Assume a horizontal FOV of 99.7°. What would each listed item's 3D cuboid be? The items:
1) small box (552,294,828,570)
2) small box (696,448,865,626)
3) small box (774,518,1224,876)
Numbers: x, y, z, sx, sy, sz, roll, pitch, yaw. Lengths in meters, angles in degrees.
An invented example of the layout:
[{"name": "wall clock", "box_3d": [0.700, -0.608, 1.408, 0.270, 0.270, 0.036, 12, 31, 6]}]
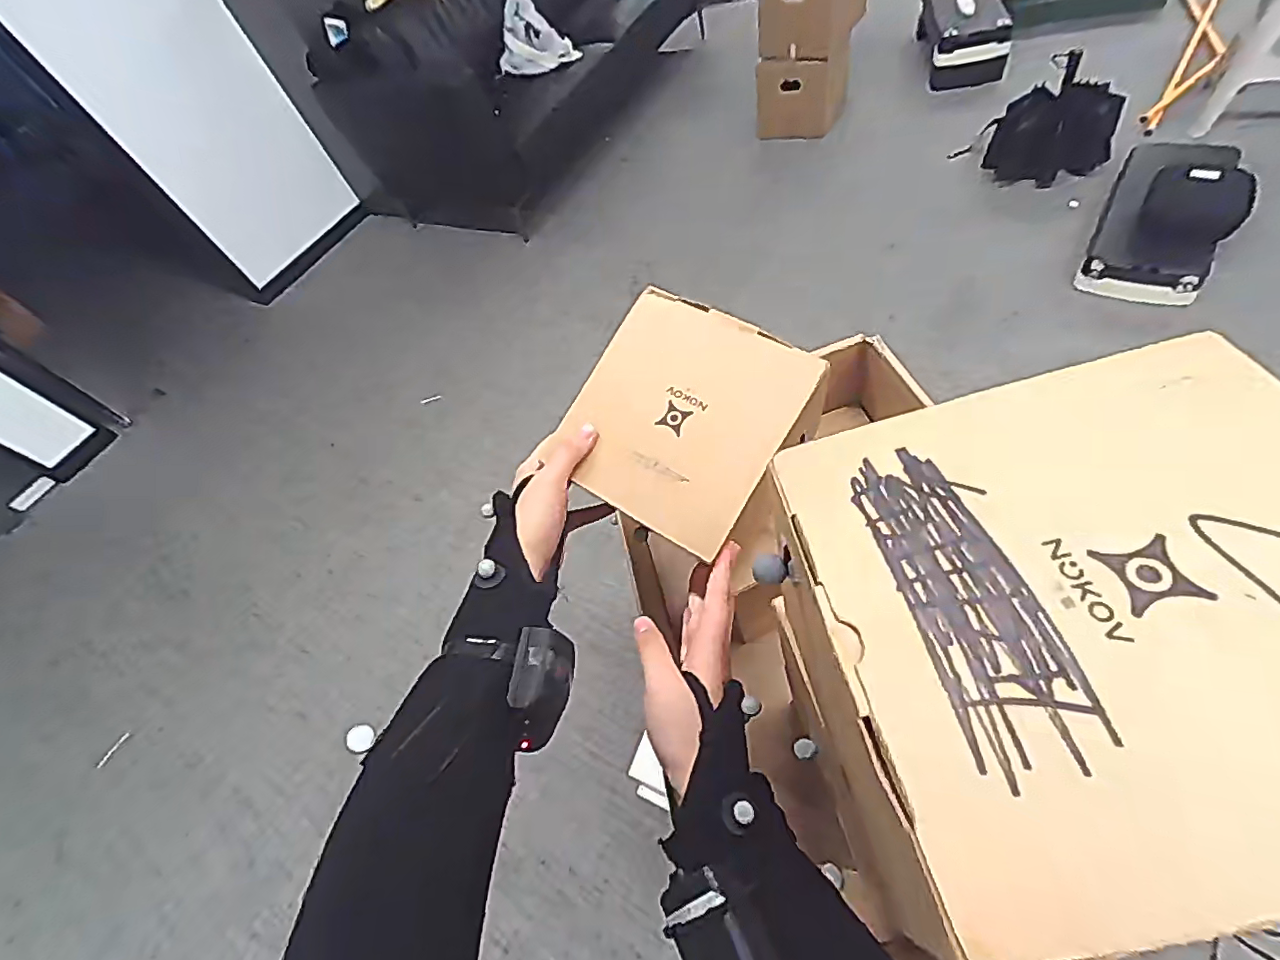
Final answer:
[{"name": "small box", "box_3d": [0.054, -0.033, 0.508, 0.168, 0.176, 0.179, 30, 86, 20]}, {"name": "small box", "box_3d": [0.149, 0.062, 0.667, 0.168, 0.176, 0.179, -26, 55, -2]}, {"name": "small box", "box_3d": [0.206, 0.157, 0.378, 0.179, 0.176, 0.168, -18, 51, 5]}]
